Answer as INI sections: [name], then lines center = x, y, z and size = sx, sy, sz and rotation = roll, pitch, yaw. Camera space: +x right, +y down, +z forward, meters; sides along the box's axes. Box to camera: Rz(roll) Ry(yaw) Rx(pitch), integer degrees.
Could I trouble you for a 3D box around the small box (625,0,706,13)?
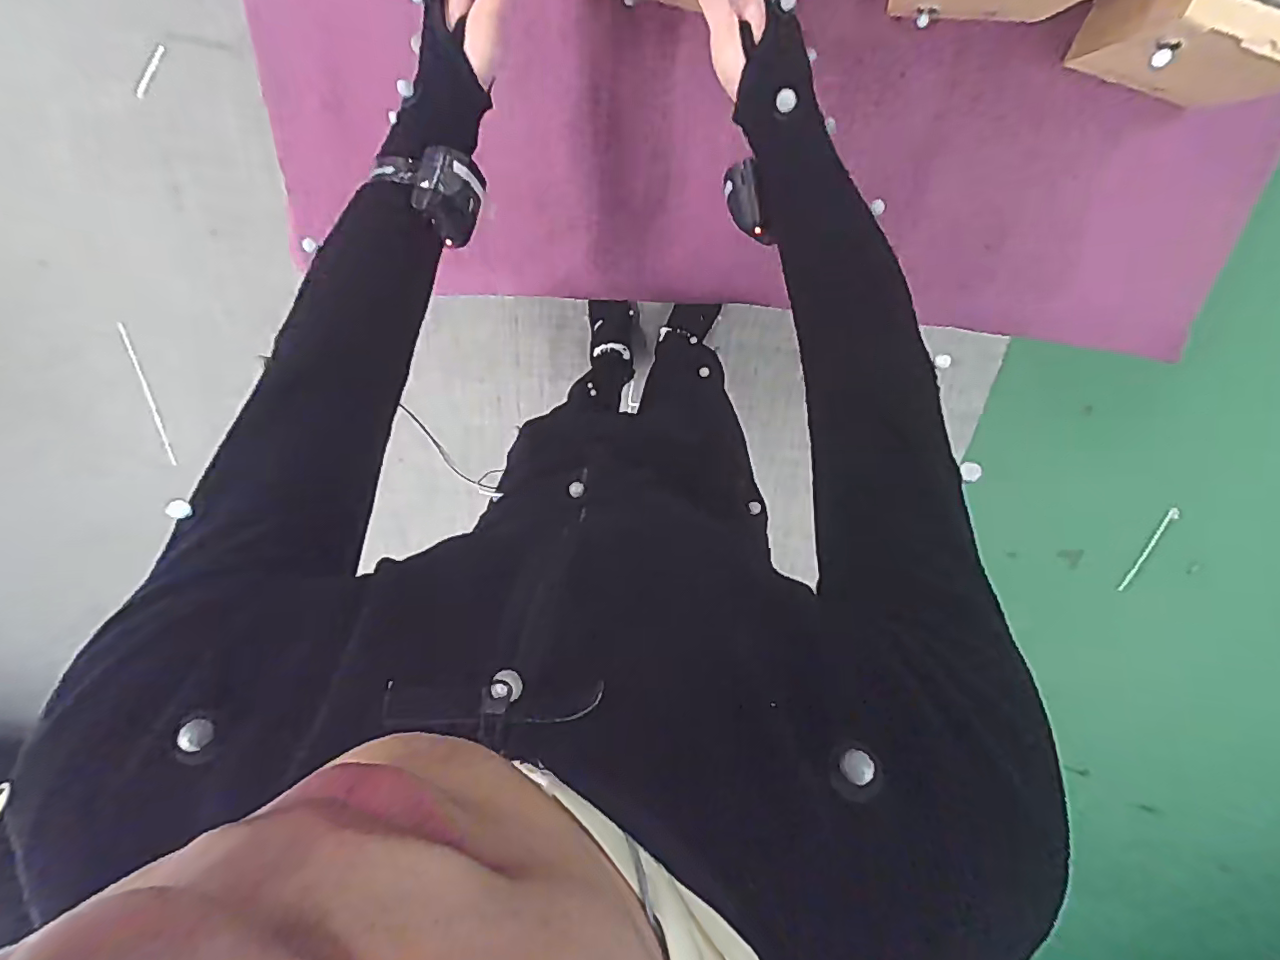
[small box]
center = 0.003, -0.566, 0.495
size = 0.179, 0.176, 0.168
rotation = 13, 118, -2
